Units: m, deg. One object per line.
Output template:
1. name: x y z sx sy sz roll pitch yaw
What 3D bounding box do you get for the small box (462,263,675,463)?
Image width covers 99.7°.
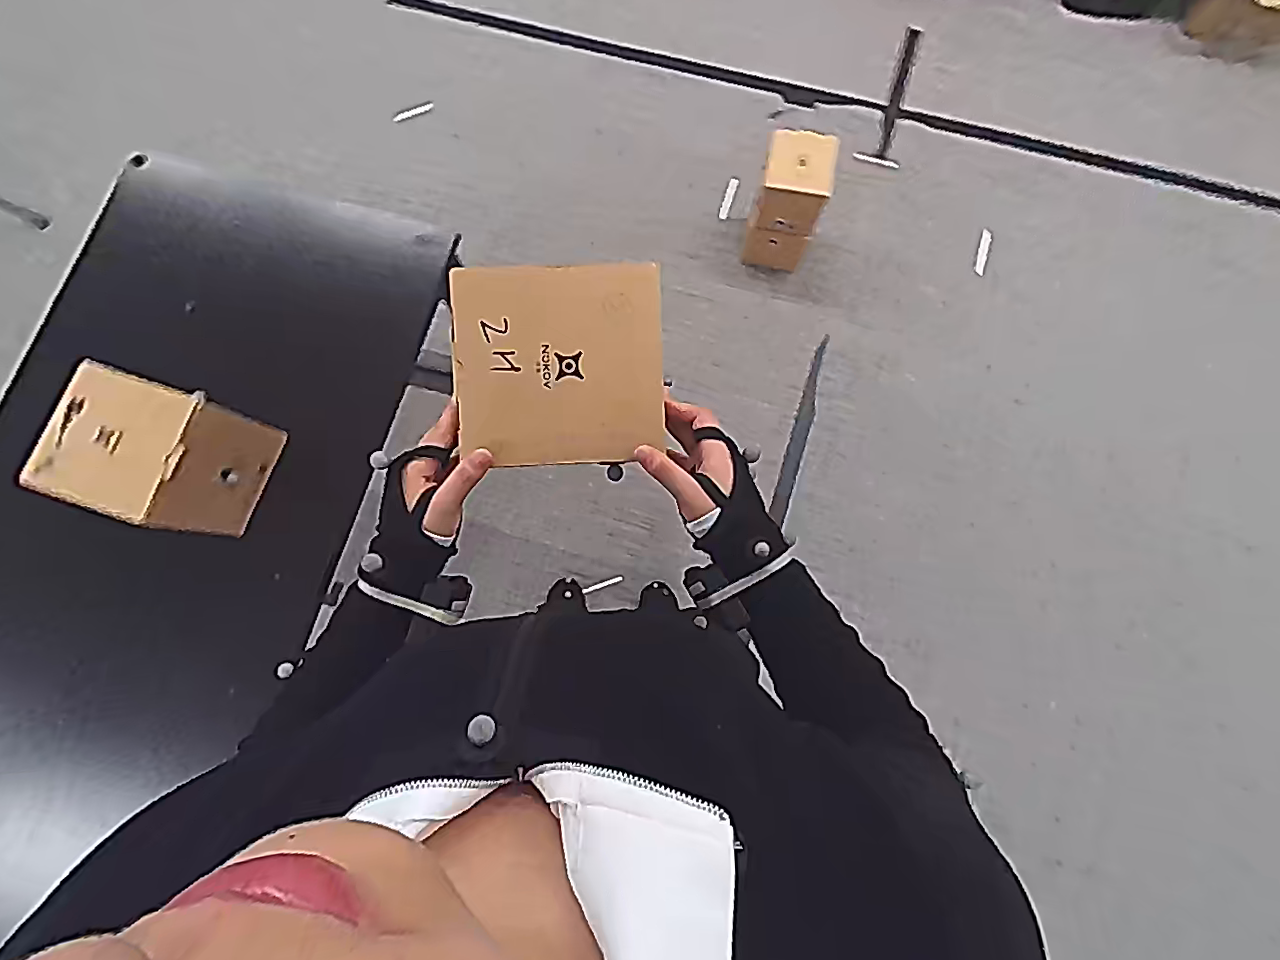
1. small box: -0.061 -0.101 0.529 0.179 0.176 0.168 -1 92 -1

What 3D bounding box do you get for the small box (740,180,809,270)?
1. small box: 0.404 -0.750 1.603 0.179 0.176 0.168 13 80 3

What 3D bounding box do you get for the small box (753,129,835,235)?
1. small box: 0.404 -0.790 1.445 0.168 0.176 0.179 10 81 4

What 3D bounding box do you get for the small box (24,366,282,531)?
1. small box: -0.651 -0.032 0.750 0.179 0.176 0.168 18 81 4
